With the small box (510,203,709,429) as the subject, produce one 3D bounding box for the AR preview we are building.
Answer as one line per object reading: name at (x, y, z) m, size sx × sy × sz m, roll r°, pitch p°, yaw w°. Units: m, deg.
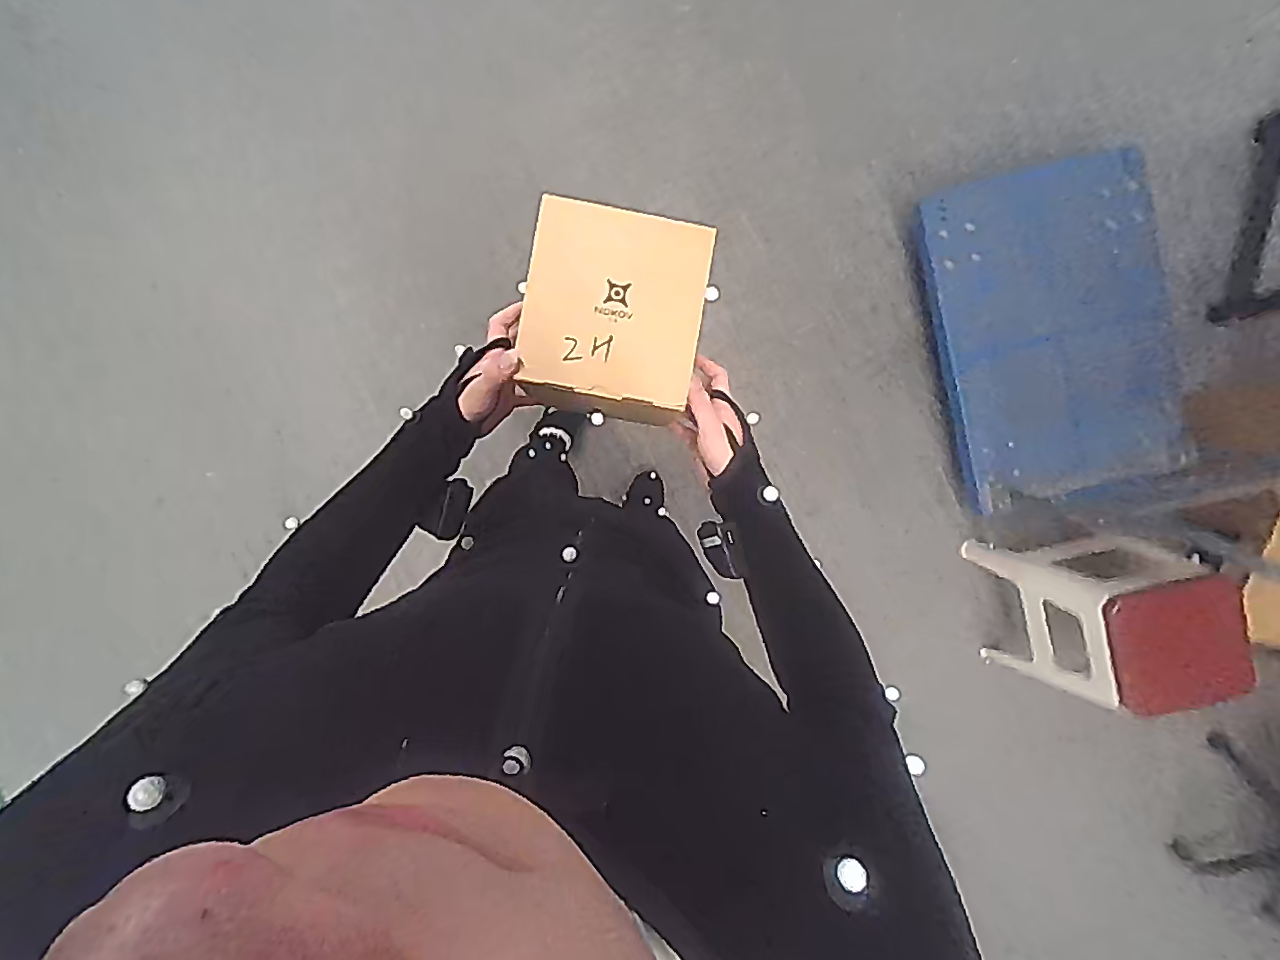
small box at (-0.034, -0.162, 0.591) m, size 0.168 × 0.176 × 0.179 m, roll 10°, pitch 89°, yaw -4°
